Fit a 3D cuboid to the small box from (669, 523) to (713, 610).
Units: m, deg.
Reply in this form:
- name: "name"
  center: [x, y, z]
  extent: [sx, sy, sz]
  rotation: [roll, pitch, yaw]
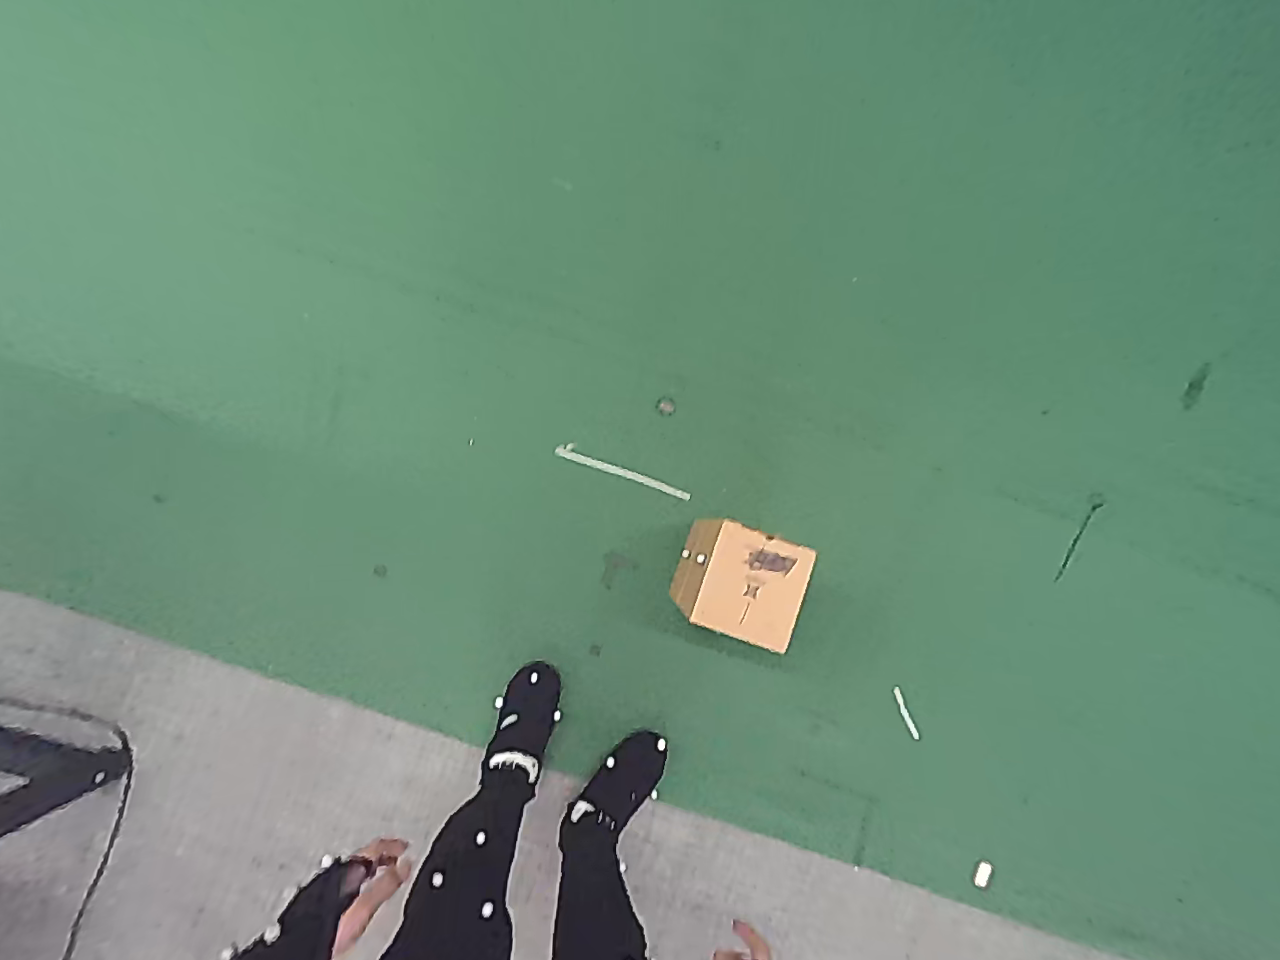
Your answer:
- name: "small box"
  center: [0.167, 0.199, 1.120]
  extent: [0.168, 0.176, 0.179]
  rotation: [21, 84, -1]

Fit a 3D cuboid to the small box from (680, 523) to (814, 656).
- name: "small box"
  center: [0.178, 0.184, 0.957]
  extent: [0.168, 0.176, 0.179]
  rotation: [20, 84, -1]
